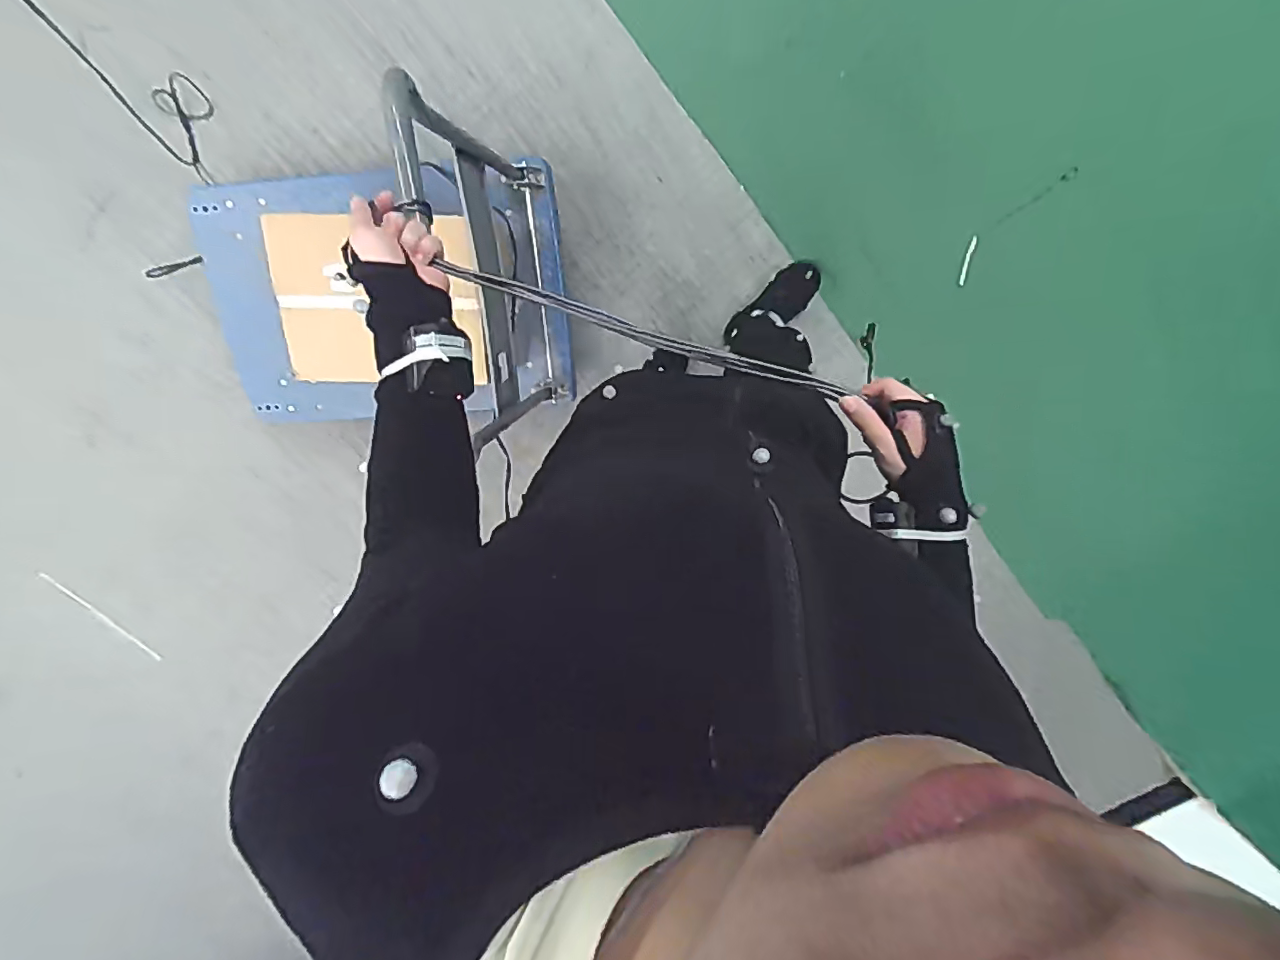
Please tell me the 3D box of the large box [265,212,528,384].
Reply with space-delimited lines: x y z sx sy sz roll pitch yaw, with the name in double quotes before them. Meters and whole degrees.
"large box" -0.485 -0.394 1.176 0.408 0.320 0.320 1 110 2
